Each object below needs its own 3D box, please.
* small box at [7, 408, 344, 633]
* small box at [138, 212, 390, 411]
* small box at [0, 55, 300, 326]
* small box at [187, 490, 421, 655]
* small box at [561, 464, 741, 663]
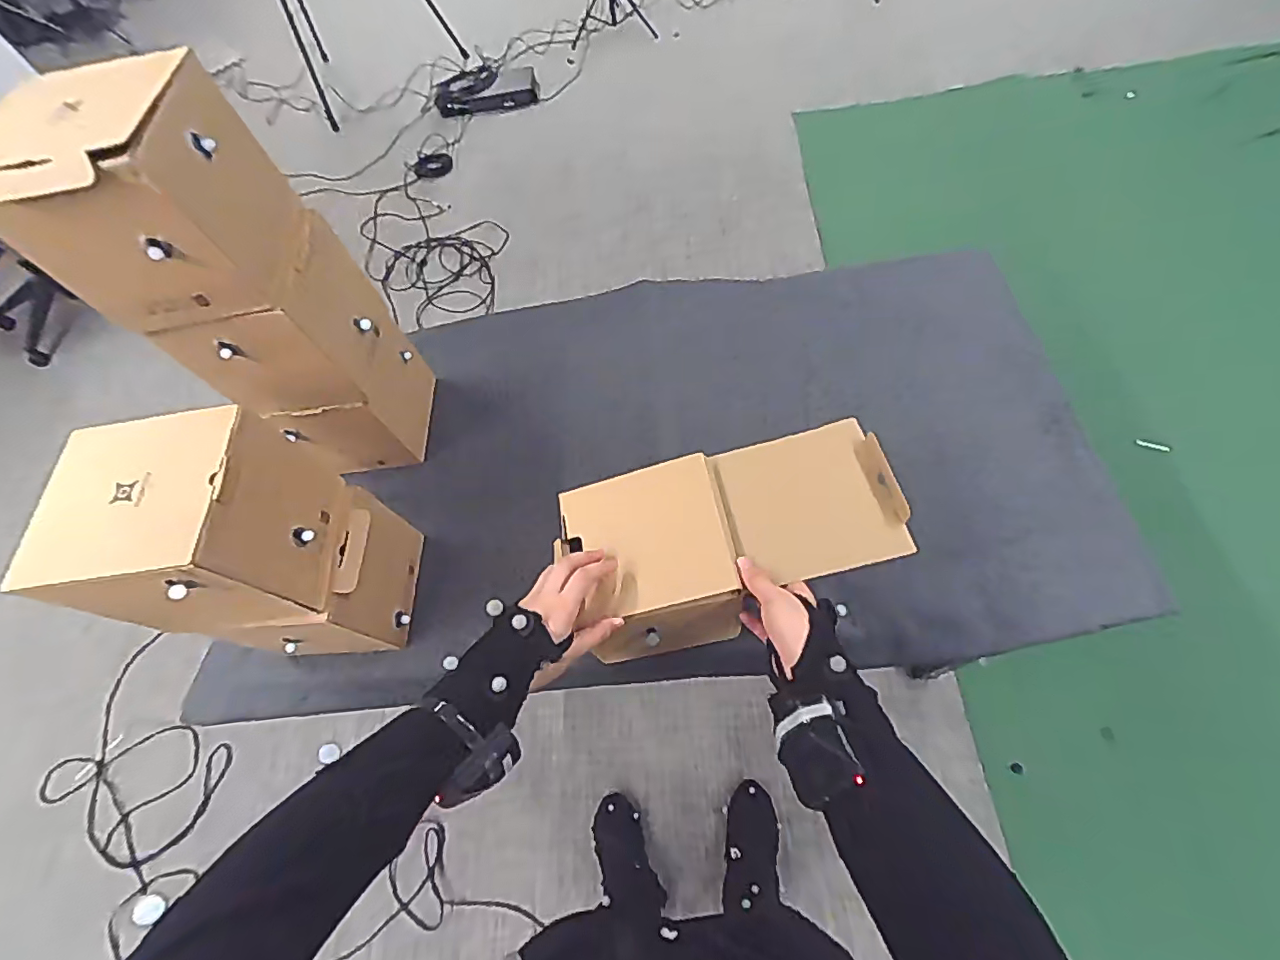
[{"bbox_3d":[-0.445,0.051,0.555,0.179,0.176,0.168,-9,62,3],"label":"small box"},{"bbox_3d":[-0.453,-0.201,0.684,0.179,0.176,0.168,-6,63,5],"label":"small box"},{"bbox_3d":[-0.480,-0.274,0.541,0.168,0.176,0.179,-9,61,2],"label":"small box"},{"bbox_3d":[-0.409,0.126,0.696,0.179,0.176,0.168,-5,62,6],"label":"small box"},{"bbox_3d":[0.017,0.108,0.645,0.179,0.176,0.168,-12,60,2],"label":"small box"}]
